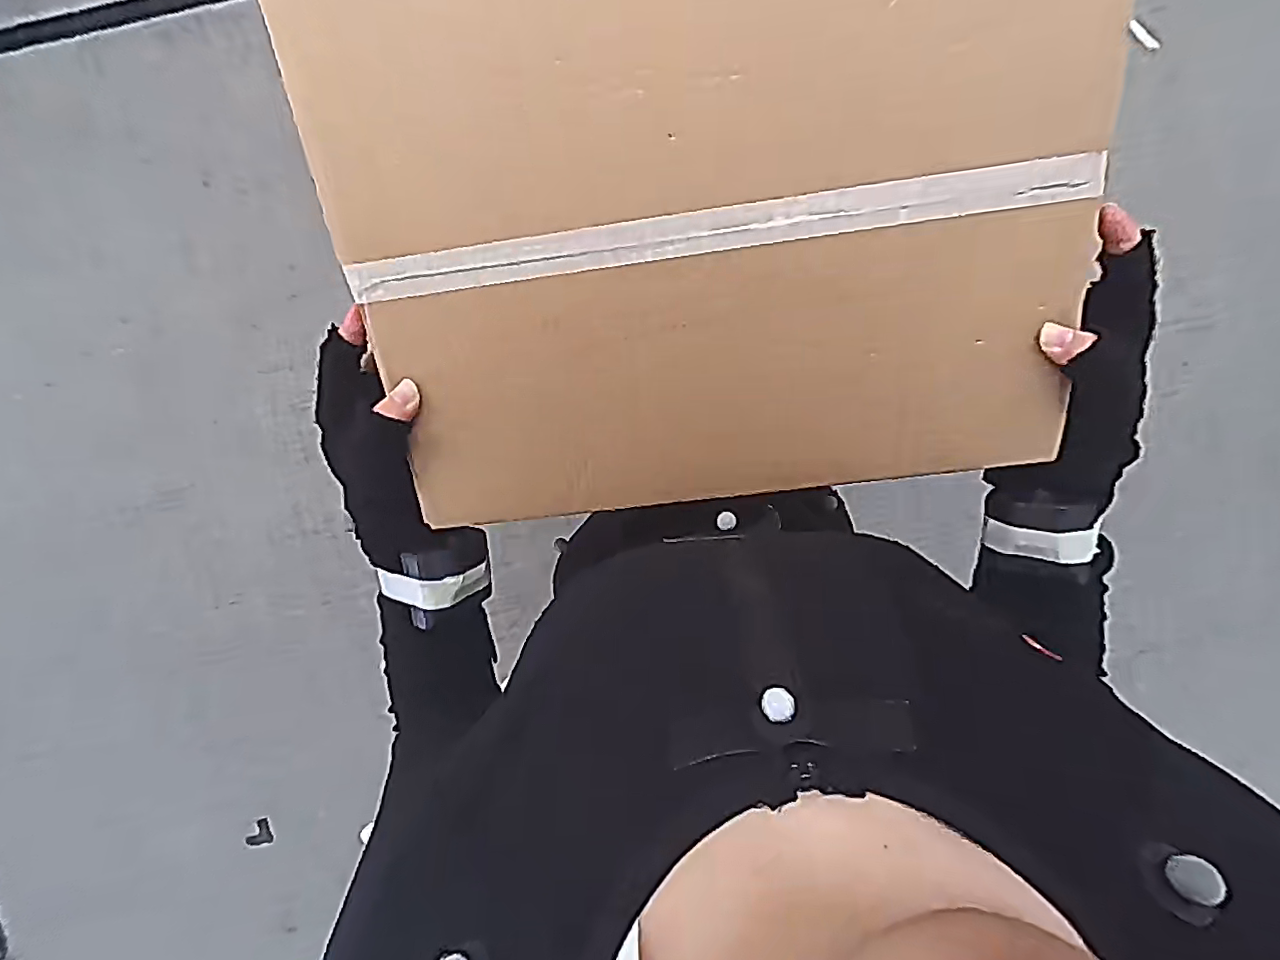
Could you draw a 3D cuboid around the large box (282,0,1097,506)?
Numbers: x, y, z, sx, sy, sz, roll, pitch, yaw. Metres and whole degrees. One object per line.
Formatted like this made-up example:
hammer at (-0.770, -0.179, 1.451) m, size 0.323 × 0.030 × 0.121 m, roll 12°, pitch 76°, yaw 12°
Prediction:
large box at (0.035, -0.201, 0.440) m, size 0.408 × 0.320 × 0.320 m, roll -7°, pitch 113°, yaw 3°
